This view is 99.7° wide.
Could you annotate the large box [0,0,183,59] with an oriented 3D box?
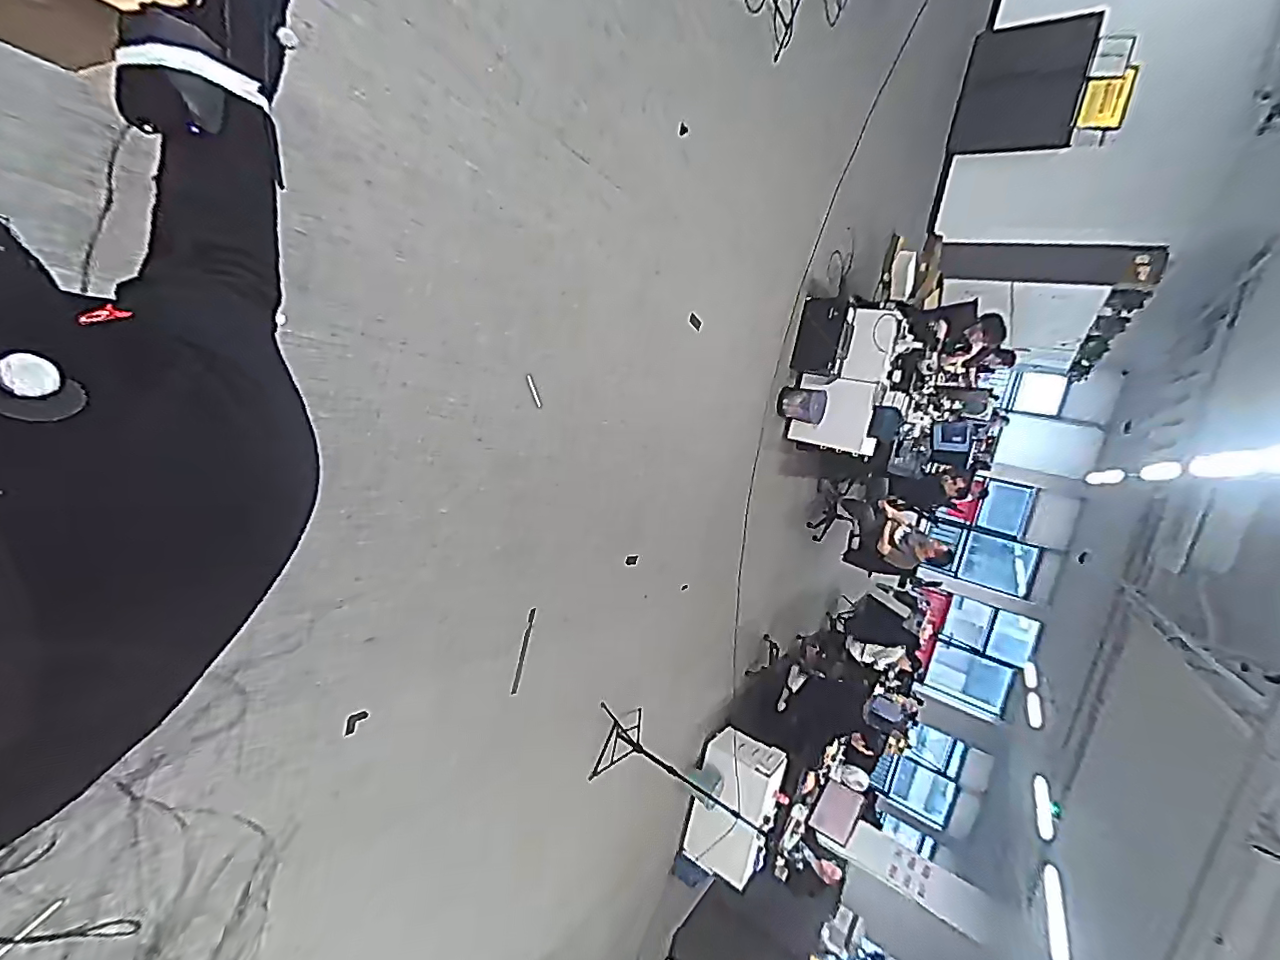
[{"bbox_3d":[-0.520,-0.501,0.265,0.408,0.320,0.320,-3,112,-57],"label":"large box"}]
